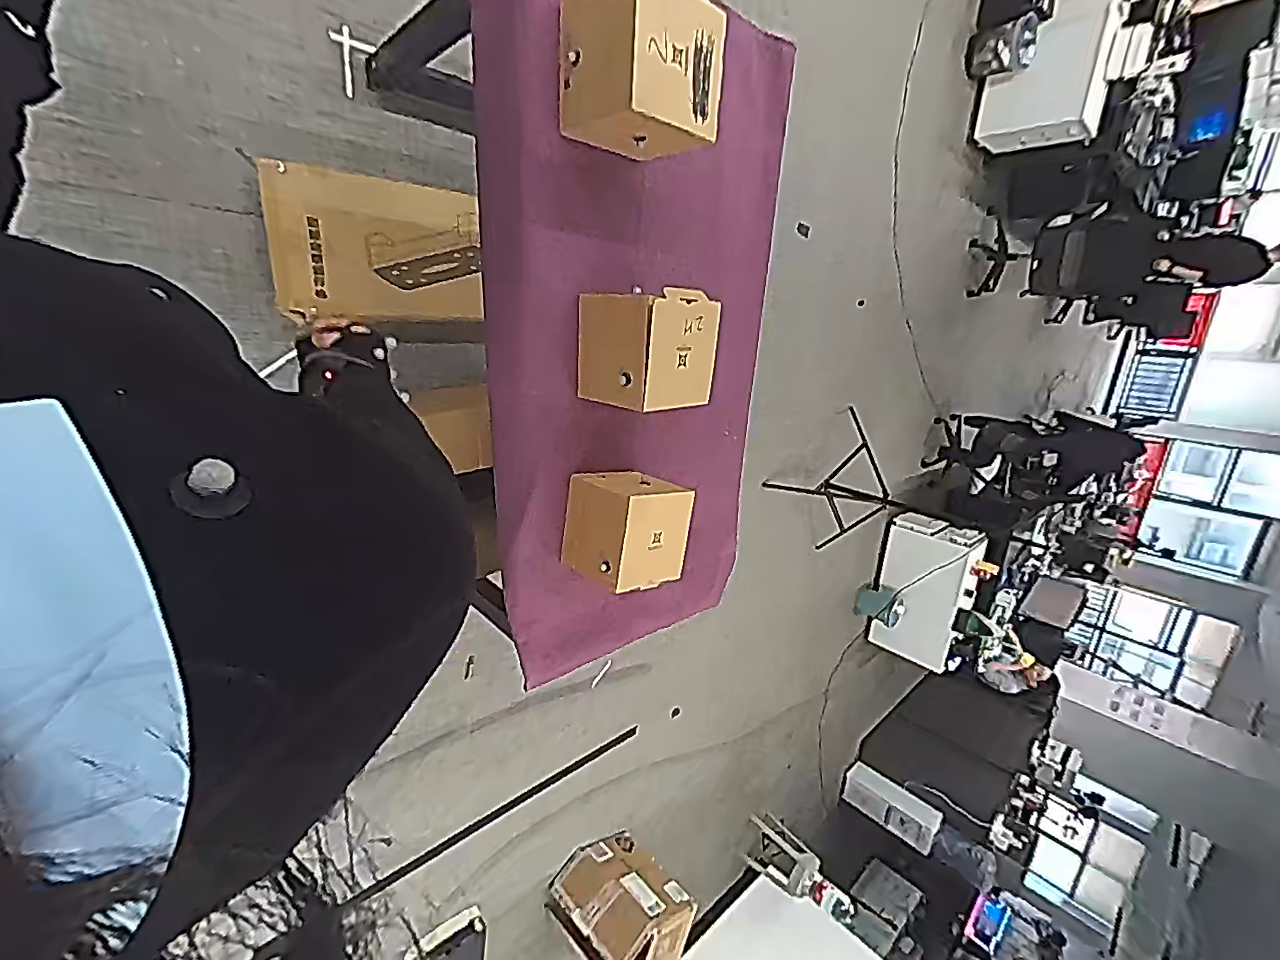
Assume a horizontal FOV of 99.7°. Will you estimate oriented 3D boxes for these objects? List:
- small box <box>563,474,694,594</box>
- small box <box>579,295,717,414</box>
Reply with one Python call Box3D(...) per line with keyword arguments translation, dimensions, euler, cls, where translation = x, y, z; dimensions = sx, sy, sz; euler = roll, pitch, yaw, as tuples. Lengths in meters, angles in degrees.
Box3D(translation=(-0.026, 0.088, 1.005), dimensions=(0.168, 0.176, 0.179), euler=(-3, 107, -44), cls="small box")
Box3D(translation=(0.009, -0.219, 0.928), dimensions=(0.168, 0.176, 0.179), euler=(-14, 114, -44), cls="small box")
